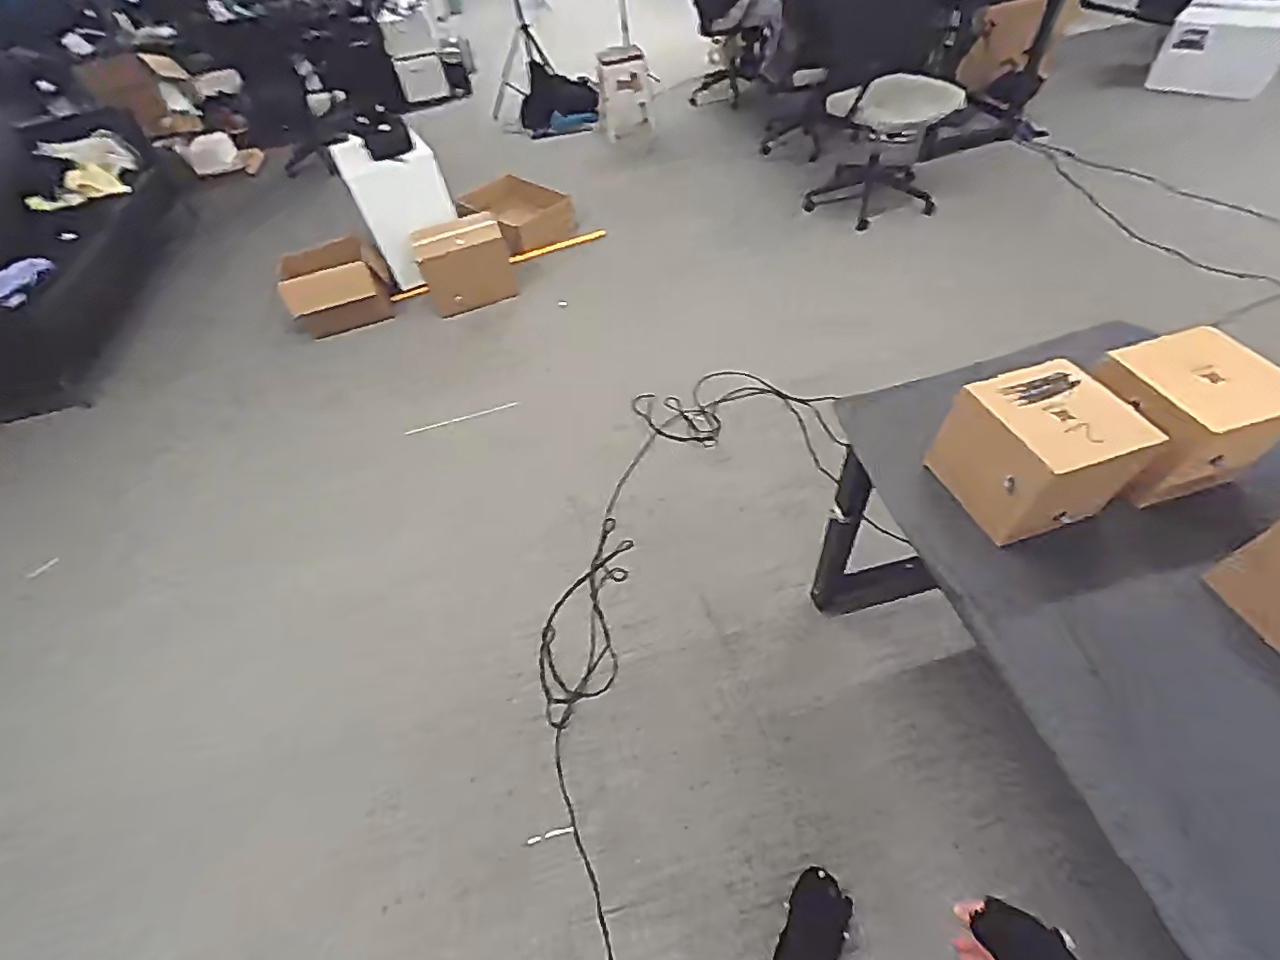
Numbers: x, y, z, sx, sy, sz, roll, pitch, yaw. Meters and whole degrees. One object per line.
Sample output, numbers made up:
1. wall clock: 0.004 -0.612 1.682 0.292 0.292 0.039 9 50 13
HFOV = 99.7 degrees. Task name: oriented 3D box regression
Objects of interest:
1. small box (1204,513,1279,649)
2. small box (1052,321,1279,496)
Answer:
1. small box: 0.826 0.115 0.604 0.168 0.176 0.179 -16 51 -4
2. small box: 0.767 -0.096 0.789 0.168 0.176 0.179 -16 50 -4
